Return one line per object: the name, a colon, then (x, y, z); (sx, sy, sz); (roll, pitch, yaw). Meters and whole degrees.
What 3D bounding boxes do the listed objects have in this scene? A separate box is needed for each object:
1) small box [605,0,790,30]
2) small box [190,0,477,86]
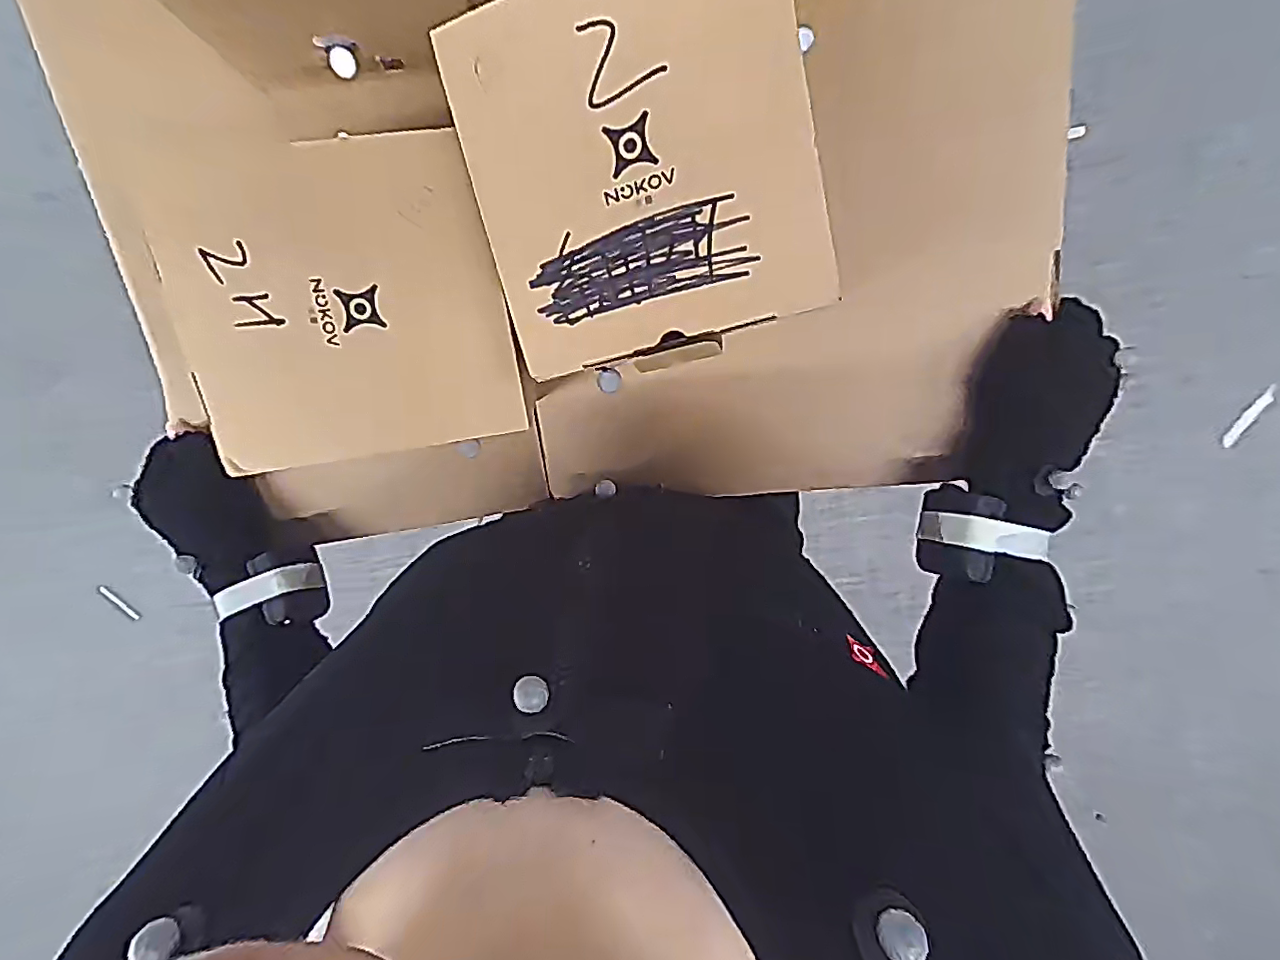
small box: (0.039, -0.374, 0.274); (0.168, 0.176, 0.179); (-3, 104, 14)
small box: (-0.201, -0.369, 0.311); (0.168, 0.176, 0.179); (-11, 106, -7)
